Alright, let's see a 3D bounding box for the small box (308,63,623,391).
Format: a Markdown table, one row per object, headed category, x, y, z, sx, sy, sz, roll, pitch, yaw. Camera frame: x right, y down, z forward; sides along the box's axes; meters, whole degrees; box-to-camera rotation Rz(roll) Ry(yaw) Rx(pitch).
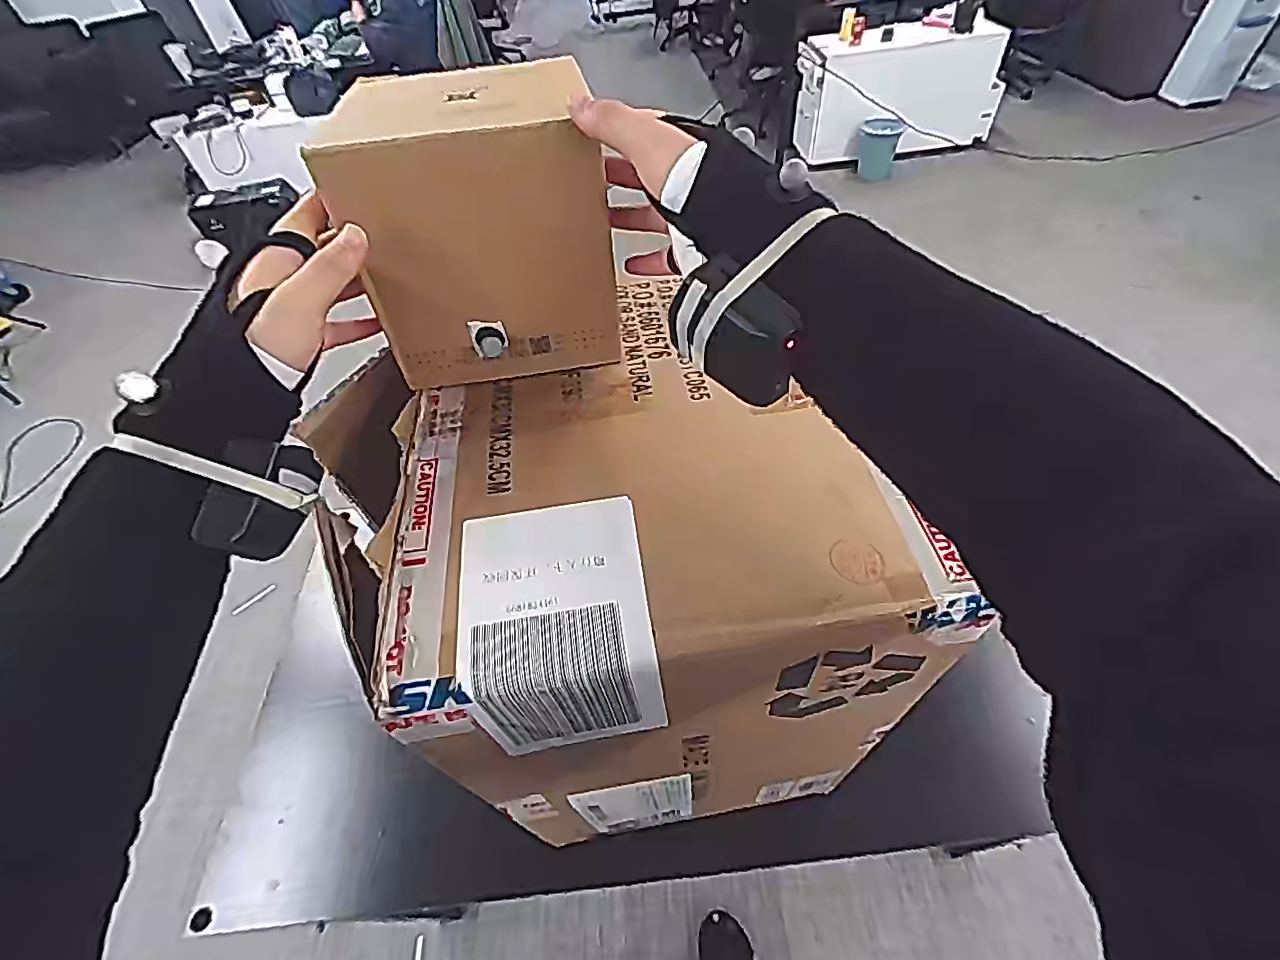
| category | x | y | z | sx | sy | sz | roll | pitch | yaw |
| --- | --- | --- | --- | --- | --- | --- | --- | --- | --- |
| small box | -0.111 | -0.193 | 0.415 | 0.168 | 0.176 | 0.179 | -11 | 48 | -4 |
